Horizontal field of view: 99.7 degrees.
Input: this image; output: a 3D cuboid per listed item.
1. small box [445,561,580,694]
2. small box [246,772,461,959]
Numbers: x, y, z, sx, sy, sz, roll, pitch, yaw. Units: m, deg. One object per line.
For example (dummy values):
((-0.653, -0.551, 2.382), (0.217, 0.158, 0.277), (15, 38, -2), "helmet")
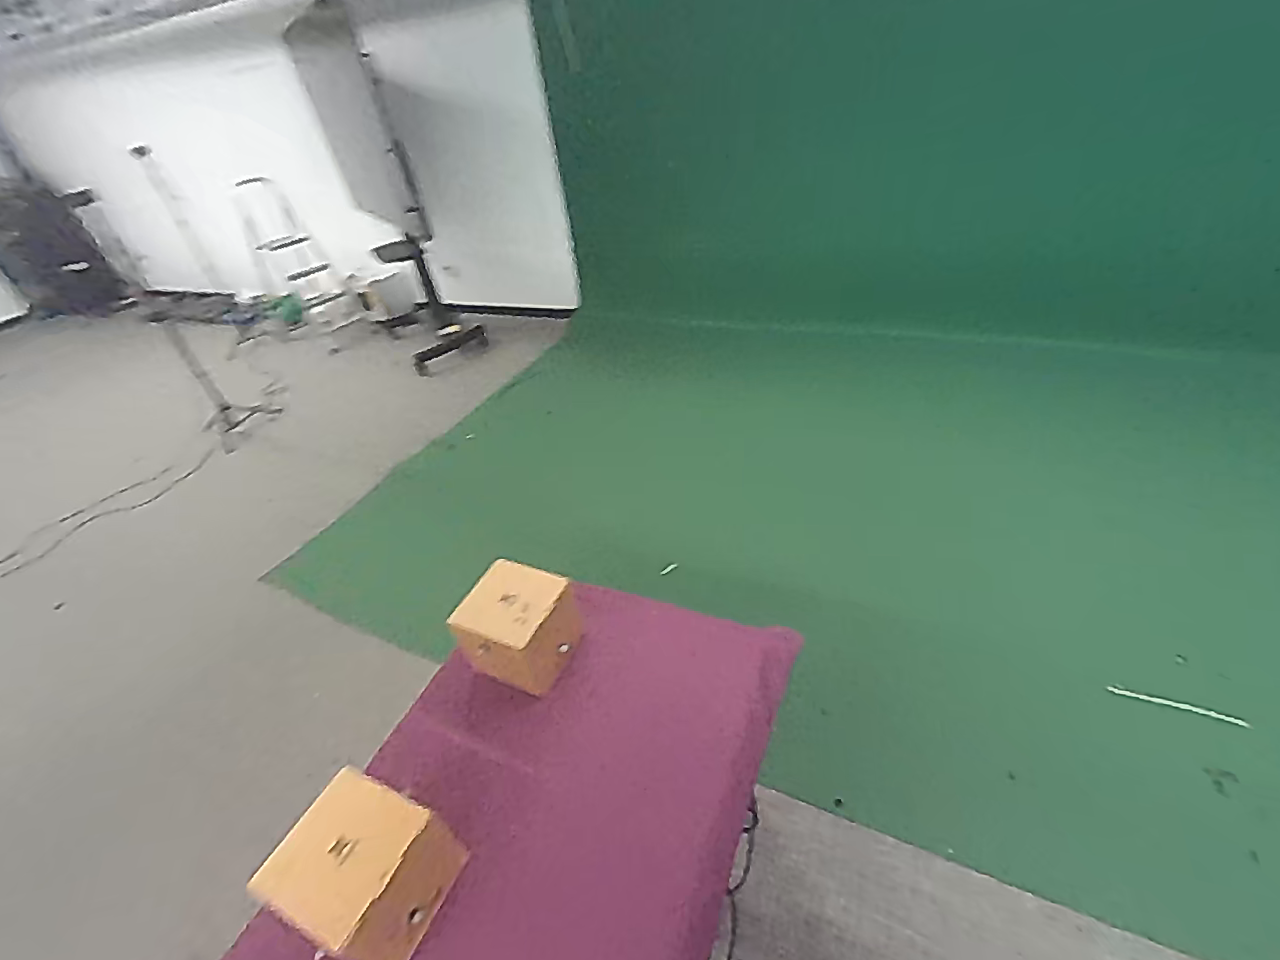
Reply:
((-0.241, 0.291, 1.066), (0.179, 0.176, 0.168), (12, 45, 23), "small box")
((-0.389, 0.557, 0.763), (0.179, 0.176, 0.168), (11, 42, 22), "small box")
